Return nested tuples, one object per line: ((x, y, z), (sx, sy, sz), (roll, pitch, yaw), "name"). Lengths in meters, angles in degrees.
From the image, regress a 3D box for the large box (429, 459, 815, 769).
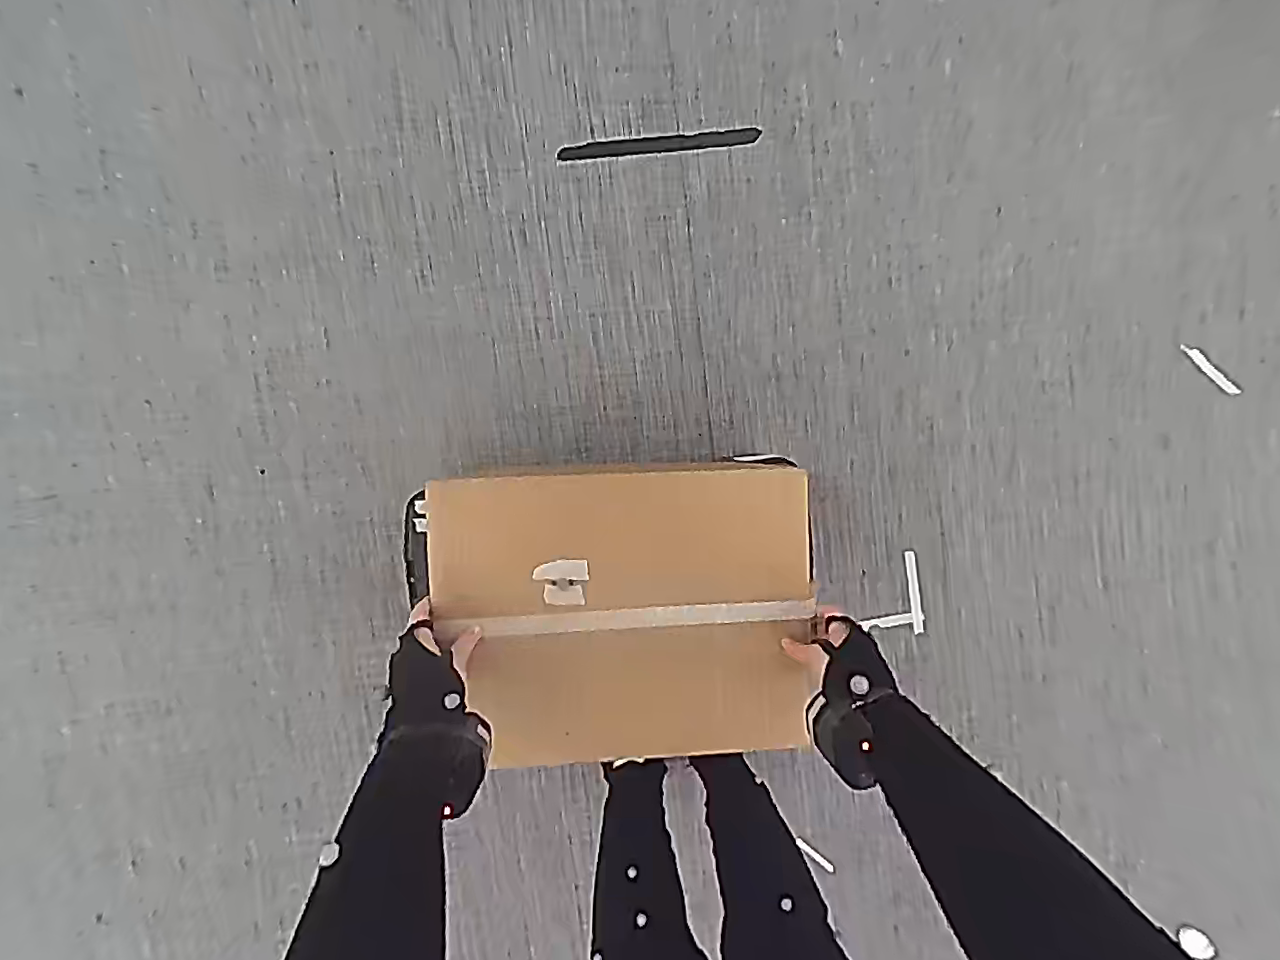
((-0.020, 0.137, 0.722), (0.408, 0.320, 0.320), (-2, 91, -3), "large box")

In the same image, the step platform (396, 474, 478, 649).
((-0.062, 0.132, 0.957), (0.684, 0.204, 0.286), (0, 92, -3), "step platform")
